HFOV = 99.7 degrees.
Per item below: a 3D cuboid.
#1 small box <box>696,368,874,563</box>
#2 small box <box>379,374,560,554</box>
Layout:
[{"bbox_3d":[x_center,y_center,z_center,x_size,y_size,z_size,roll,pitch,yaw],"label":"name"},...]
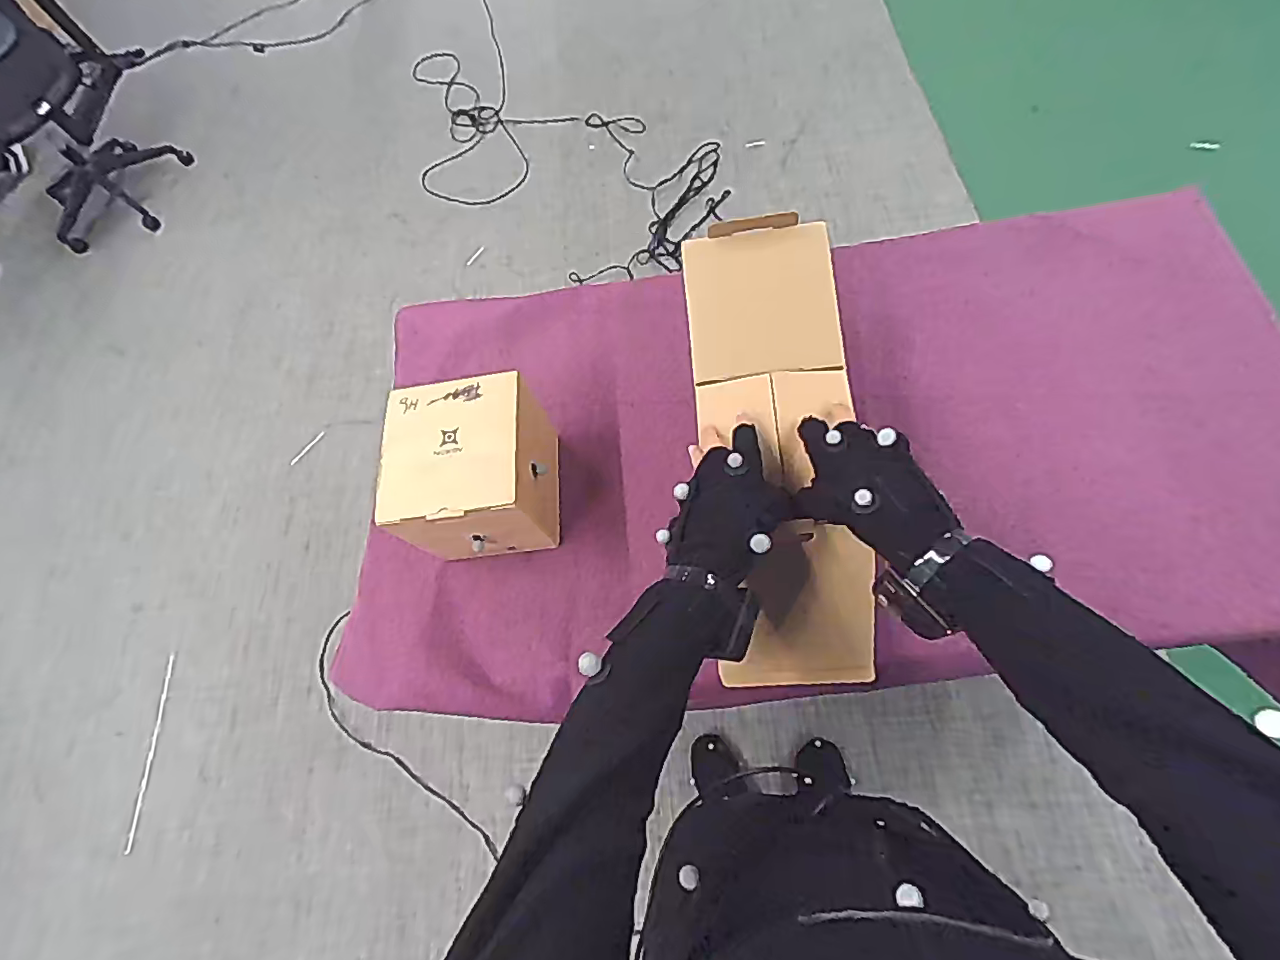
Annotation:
[{"bbox_3d":[0.156,-0.005,0.631,0.168,0.176,0.179,-5,66,7],"label":"small box"},{"bbox_3d":[-0.203,-0.008,0.693,0.168,0.176,0.179,-7,67,6],"label":"small box"}]
